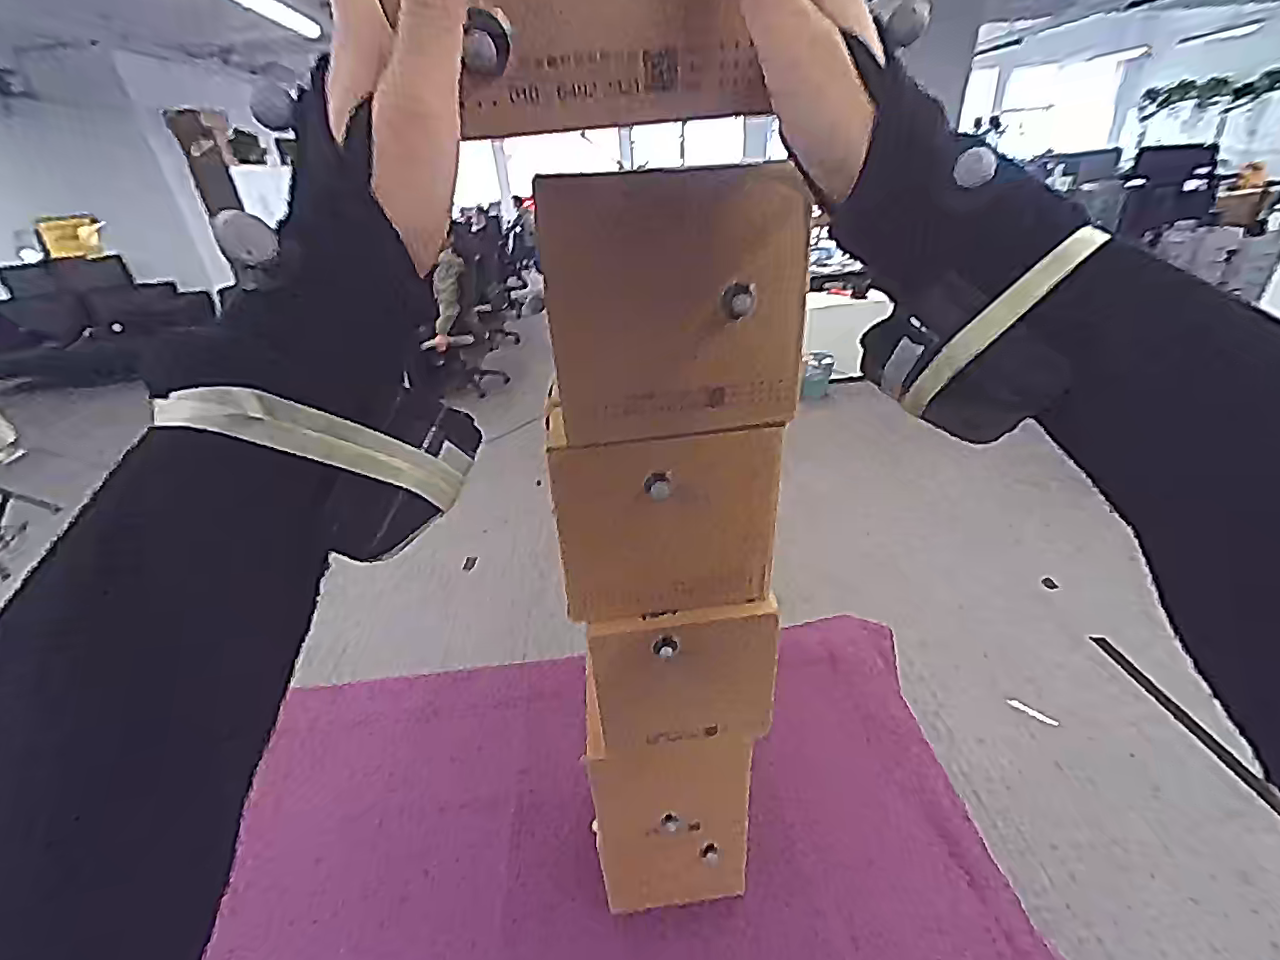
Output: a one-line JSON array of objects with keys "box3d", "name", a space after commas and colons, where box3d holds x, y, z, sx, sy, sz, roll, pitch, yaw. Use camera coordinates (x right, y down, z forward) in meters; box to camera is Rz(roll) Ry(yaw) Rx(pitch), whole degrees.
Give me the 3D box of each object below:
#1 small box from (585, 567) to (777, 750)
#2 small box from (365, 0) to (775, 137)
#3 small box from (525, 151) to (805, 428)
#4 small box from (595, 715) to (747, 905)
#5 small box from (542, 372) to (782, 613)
[{"box3d": [0.033, 0.144, 0.562, 0.168, 0.176, 0.179, -6, 30, -3], "name": "small box"}, {"box3d": [-0.041, -0.264, 0.242, 0.168, 0.176, 0.179, -11, 40, -8], "name": "small box"}, {"box3d": [0.011, -0.145, 0.414, 0.168, 0.176, 0.179, -6, 29, -6], "name": "small box"}, {"box3d": [0.036, 0.429, 0.725, 0.179, 0.176, 0.168, -7, 29, -3], "name": "small box"}, {"box3d": [0.014, -0.002, 0.491, 0.179, 0.176, 0.168, -7, 30, -4], "name": "small box"}]
